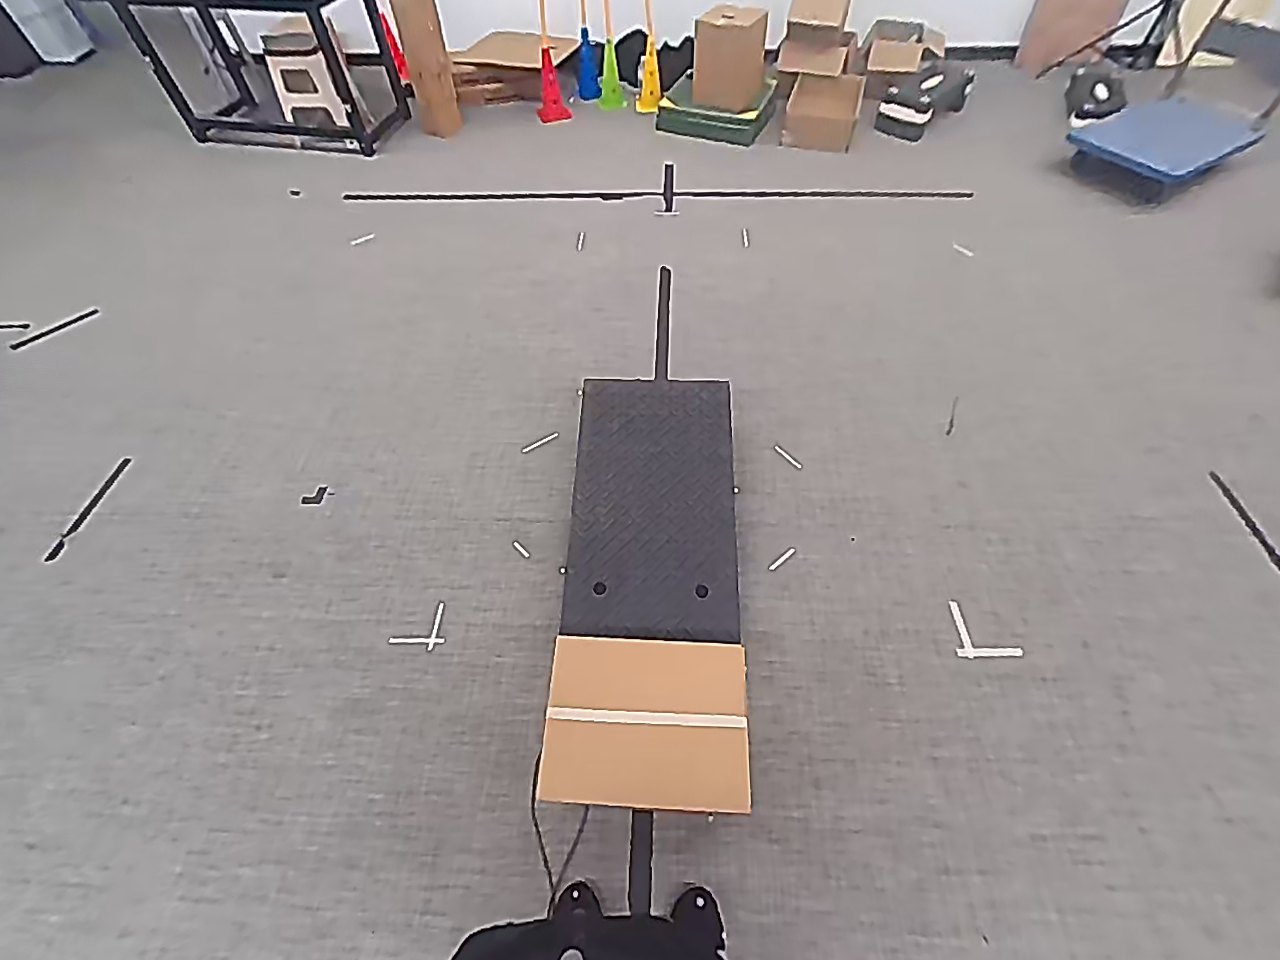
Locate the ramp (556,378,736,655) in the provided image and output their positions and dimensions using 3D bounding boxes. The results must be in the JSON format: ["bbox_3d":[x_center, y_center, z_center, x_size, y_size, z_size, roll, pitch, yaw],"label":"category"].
[{"bbox_3d":[0.029,0.116,1.614,0.509,0.206,0.991,1,55,0],"label":"ramp"}]

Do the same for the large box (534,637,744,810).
[{"bbox_3d":[0.005,0.555,1.221,0.408,0.320,0.320,2,58,2],"label":"large box"}]
